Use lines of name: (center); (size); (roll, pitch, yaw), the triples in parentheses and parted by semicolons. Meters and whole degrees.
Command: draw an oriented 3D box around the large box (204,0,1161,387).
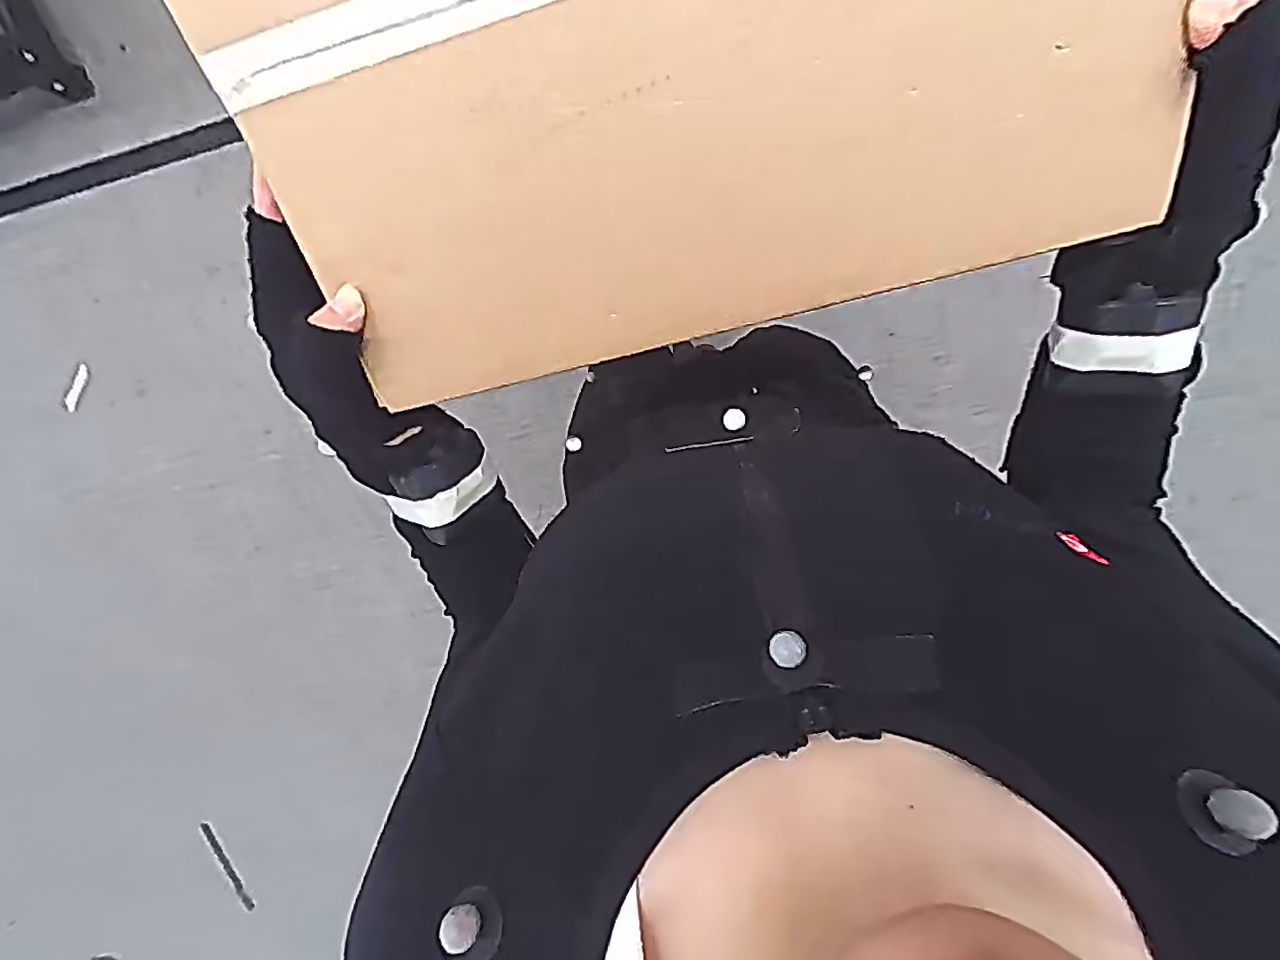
large box: (0.010, -0.296, 0.351); (0.408, 0.320, 0.320); (-13, 119, 7)
